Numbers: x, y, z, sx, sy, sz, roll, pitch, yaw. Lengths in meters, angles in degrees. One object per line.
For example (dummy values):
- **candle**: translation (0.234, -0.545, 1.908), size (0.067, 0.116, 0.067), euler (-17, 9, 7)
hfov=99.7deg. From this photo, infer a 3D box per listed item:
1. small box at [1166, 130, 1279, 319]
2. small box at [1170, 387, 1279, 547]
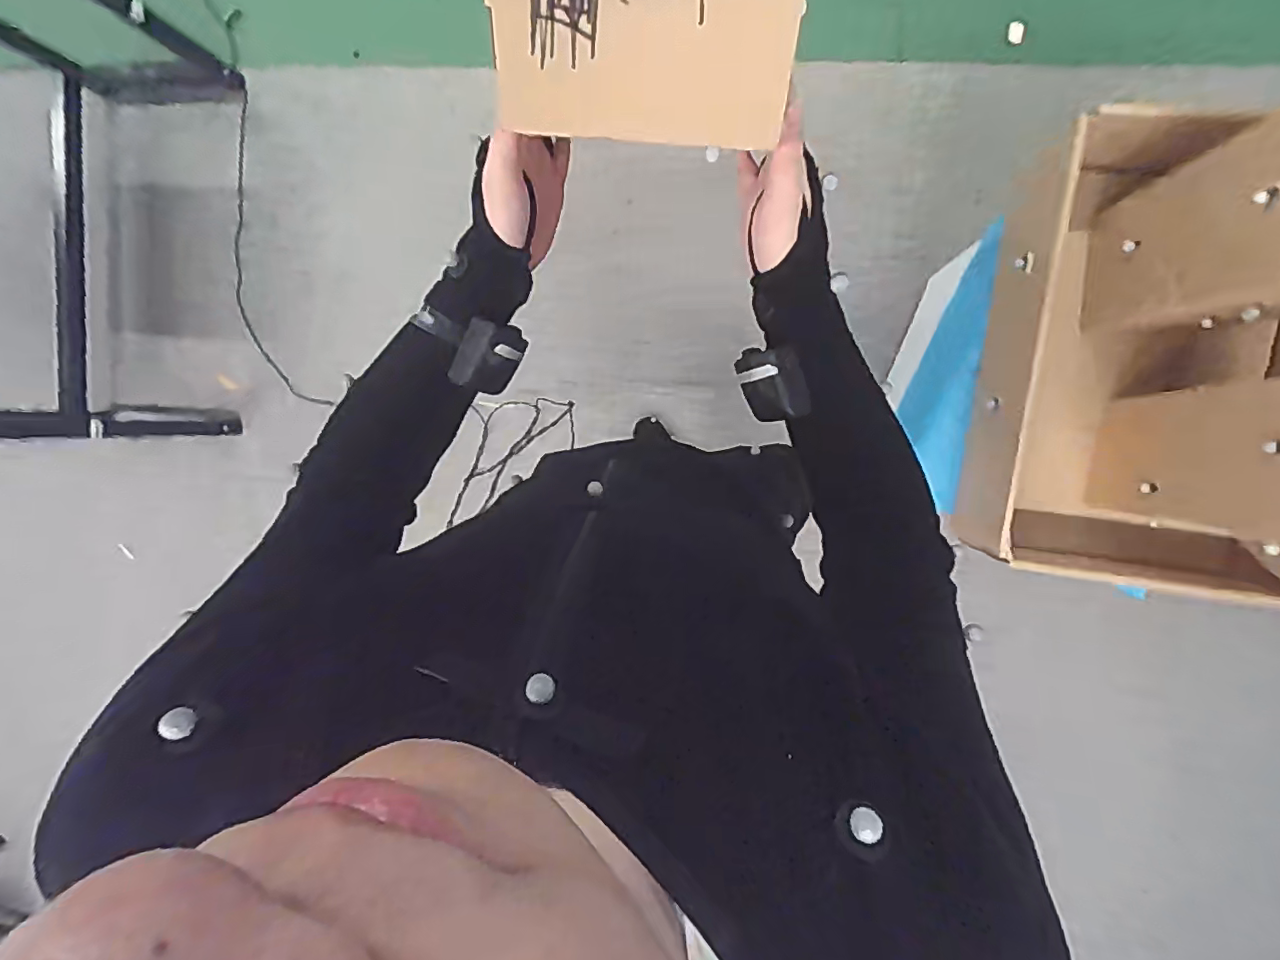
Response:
- **small box**: translation (0.727, -0.279, 0.581), size (0.168, 0.176, 0.179), euler (3, 97, 8)
- **small box**: translation (0.757, -0.007, 0.601), size (0.168, 0.176, 0.179), euler (11, 97, 8)
